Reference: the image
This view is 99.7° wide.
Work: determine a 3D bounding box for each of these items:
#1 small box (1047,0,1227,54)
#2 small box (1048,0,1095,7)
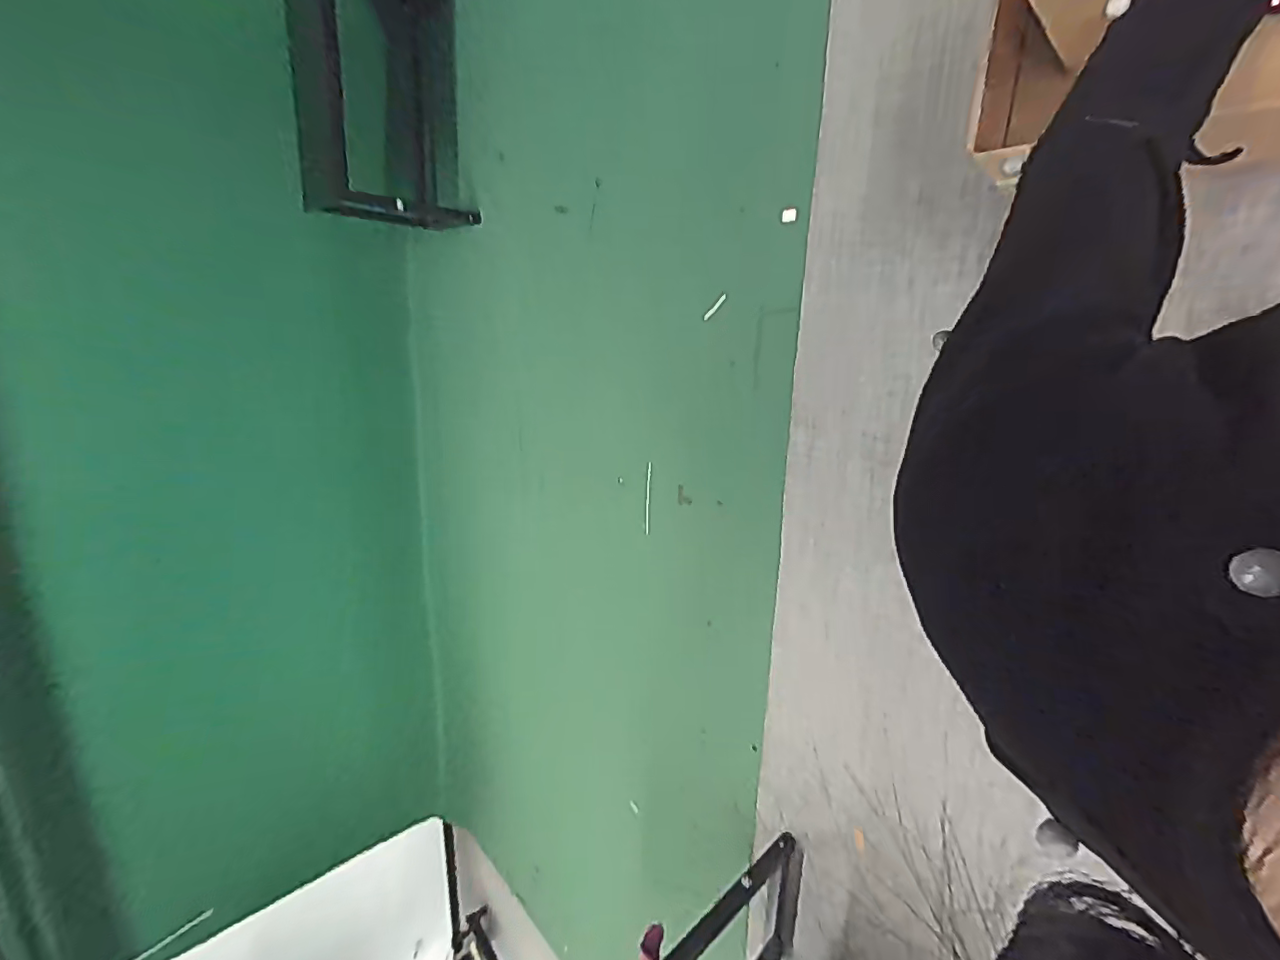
[{"bbox_3d":[0.647,-0.696,0.685,0.168,0.176,0.179,13,109,46],"label":"small box"},{"bbox_3d":[0.533,-0.654,0.574,0.168,0.176,0.179,12,109,45],"label":"small box"}]
